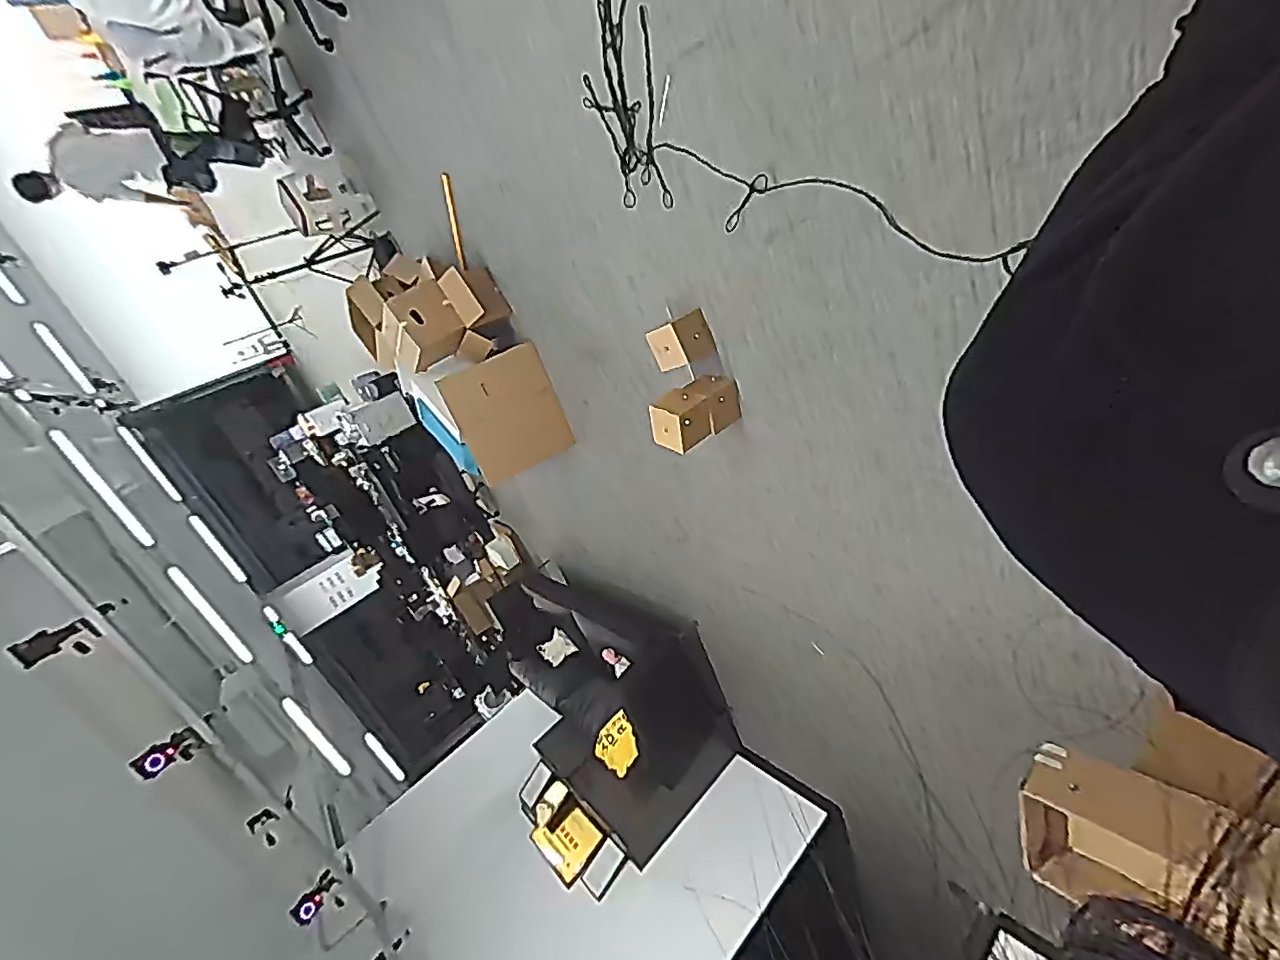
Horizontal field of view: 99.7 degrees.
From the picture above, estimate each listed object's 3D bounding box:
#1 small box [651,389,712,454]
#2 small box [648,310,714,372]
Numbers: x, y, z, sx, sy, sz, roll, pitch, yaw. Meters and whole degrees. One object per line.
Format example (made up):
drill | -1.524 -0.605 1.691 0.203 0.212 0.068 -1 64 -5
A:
small box | 0.170 -0.233 2.124 0.168 0.176 0.179 27 140 41
small box | 0.170 -0.547 2.123 0.179 0.176 0.168 -1 120 57
